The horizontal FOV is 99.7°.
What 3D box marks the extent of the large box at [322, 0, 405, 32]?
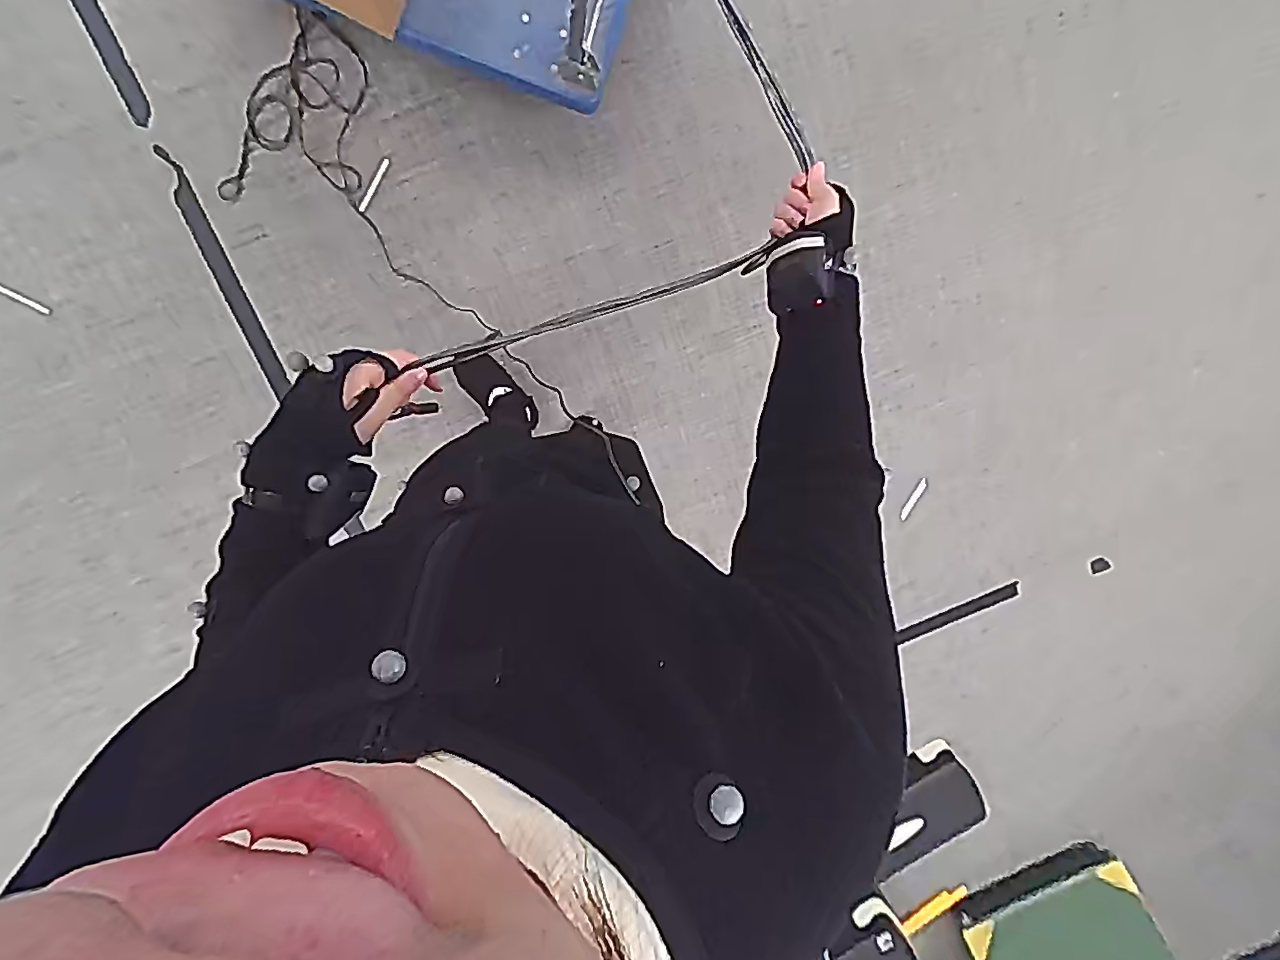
[{"bbox_3d":[-0.599,-1.061,0.879,0.408,0.320,0.320,21,97,-10],"label":"large box"}]
